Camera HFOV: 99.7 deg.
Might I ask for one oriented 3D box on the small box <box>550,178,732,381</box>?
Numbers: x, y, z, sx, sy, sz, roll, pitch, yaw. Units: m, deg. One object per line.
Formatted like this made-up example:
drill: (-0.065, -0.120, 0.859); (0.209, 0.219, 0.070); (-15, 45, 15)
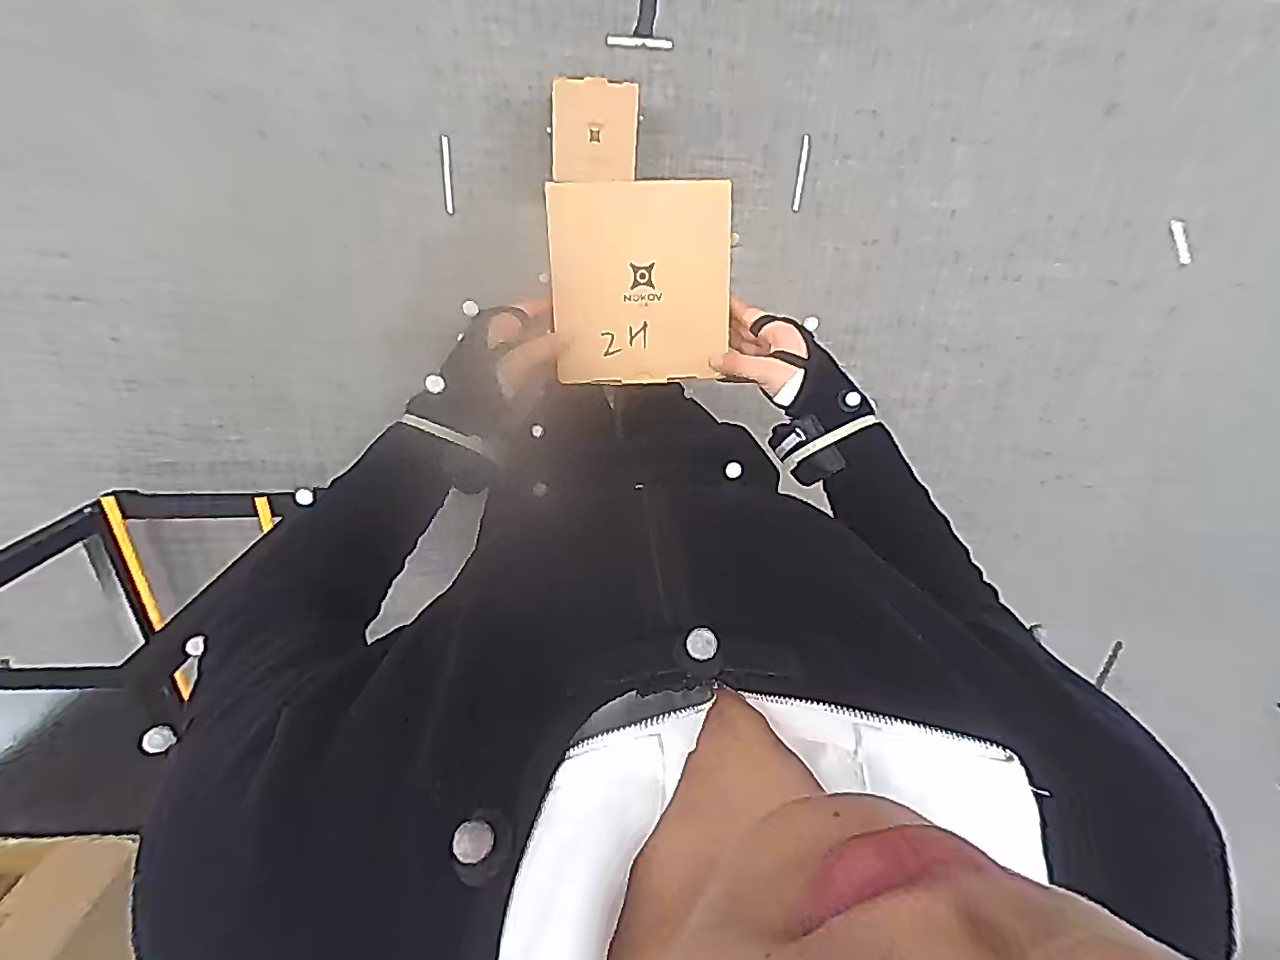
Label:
small box: (-0.004, -0.204, 0.573); (0.168, 0.176, 0.179); (-3, 108, -3)

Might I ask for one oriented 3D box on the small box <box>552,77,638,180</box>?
small box: (-0.095, -0.704, 1.119); (0.168, 0.176, 0.179); (1, 116, -4)
